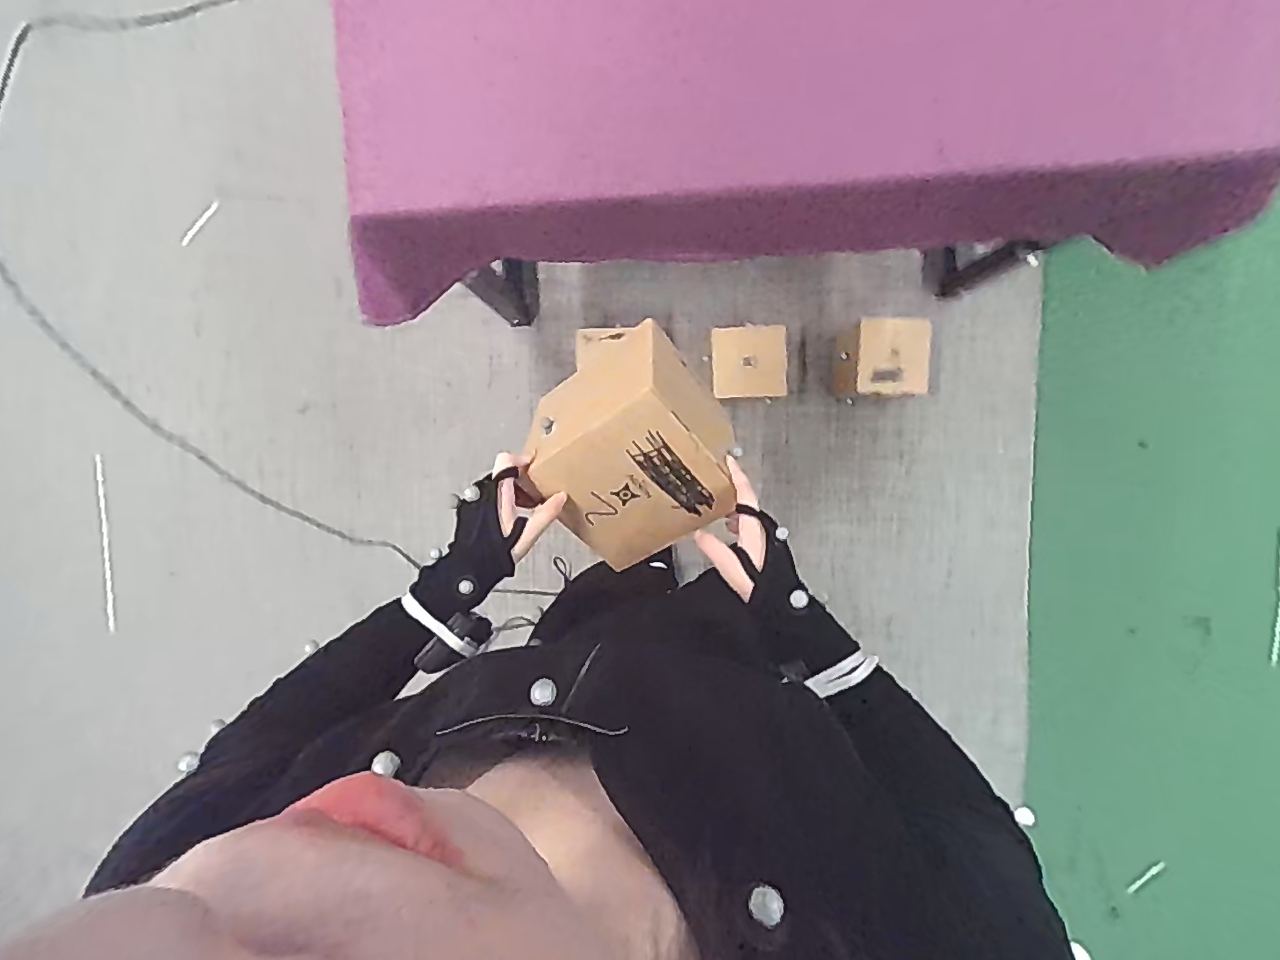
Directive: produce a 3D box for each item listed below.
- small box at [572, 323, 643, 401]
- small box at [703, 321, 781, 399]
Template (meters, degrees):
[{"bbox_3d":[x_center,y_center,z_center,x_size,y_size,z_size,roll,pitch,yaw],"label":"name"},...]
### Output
[{"bbox_3d":[-0.076,-0.290,1.361,0.168,0.176,0.179,0,95,2],"label":"small box"},{"bbox_3d":[0.249,-0.295,1.353,0.179,0.176,0.168,-2,94,1],"label":"small box"}]
